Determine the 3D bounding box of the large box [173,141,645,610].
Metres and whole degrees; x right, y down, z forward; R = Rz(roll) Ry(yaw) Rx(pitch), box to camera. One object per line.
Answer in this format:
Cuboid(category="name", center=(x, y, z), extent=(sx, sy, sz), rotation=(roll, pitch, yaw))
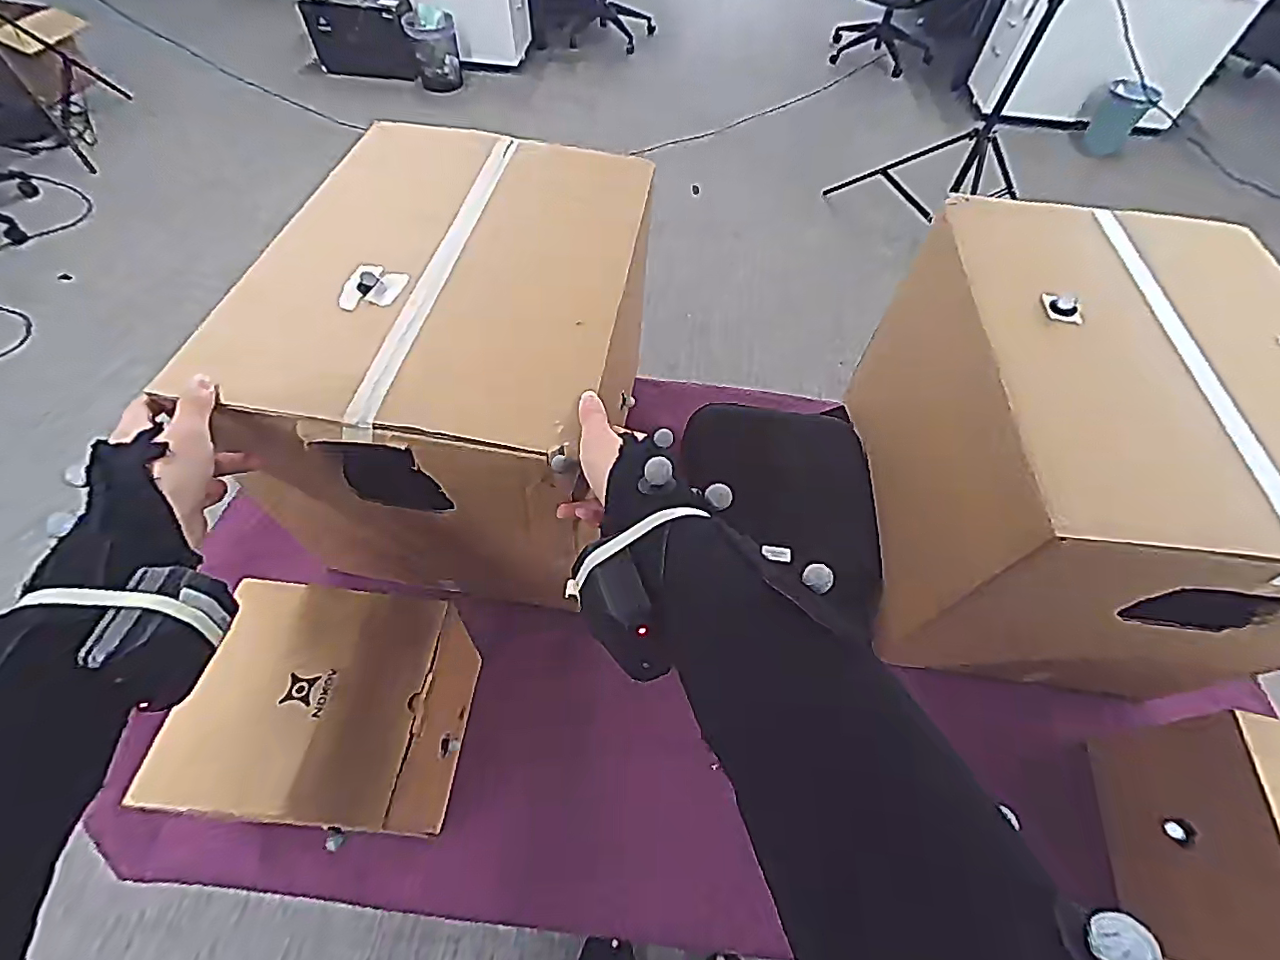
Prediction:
Cuboid(category="large box", center=(-0.178, -0.109, 0.620), extent=(0.320, 0.320, 0.408), rotation=(8, 59, 2))
